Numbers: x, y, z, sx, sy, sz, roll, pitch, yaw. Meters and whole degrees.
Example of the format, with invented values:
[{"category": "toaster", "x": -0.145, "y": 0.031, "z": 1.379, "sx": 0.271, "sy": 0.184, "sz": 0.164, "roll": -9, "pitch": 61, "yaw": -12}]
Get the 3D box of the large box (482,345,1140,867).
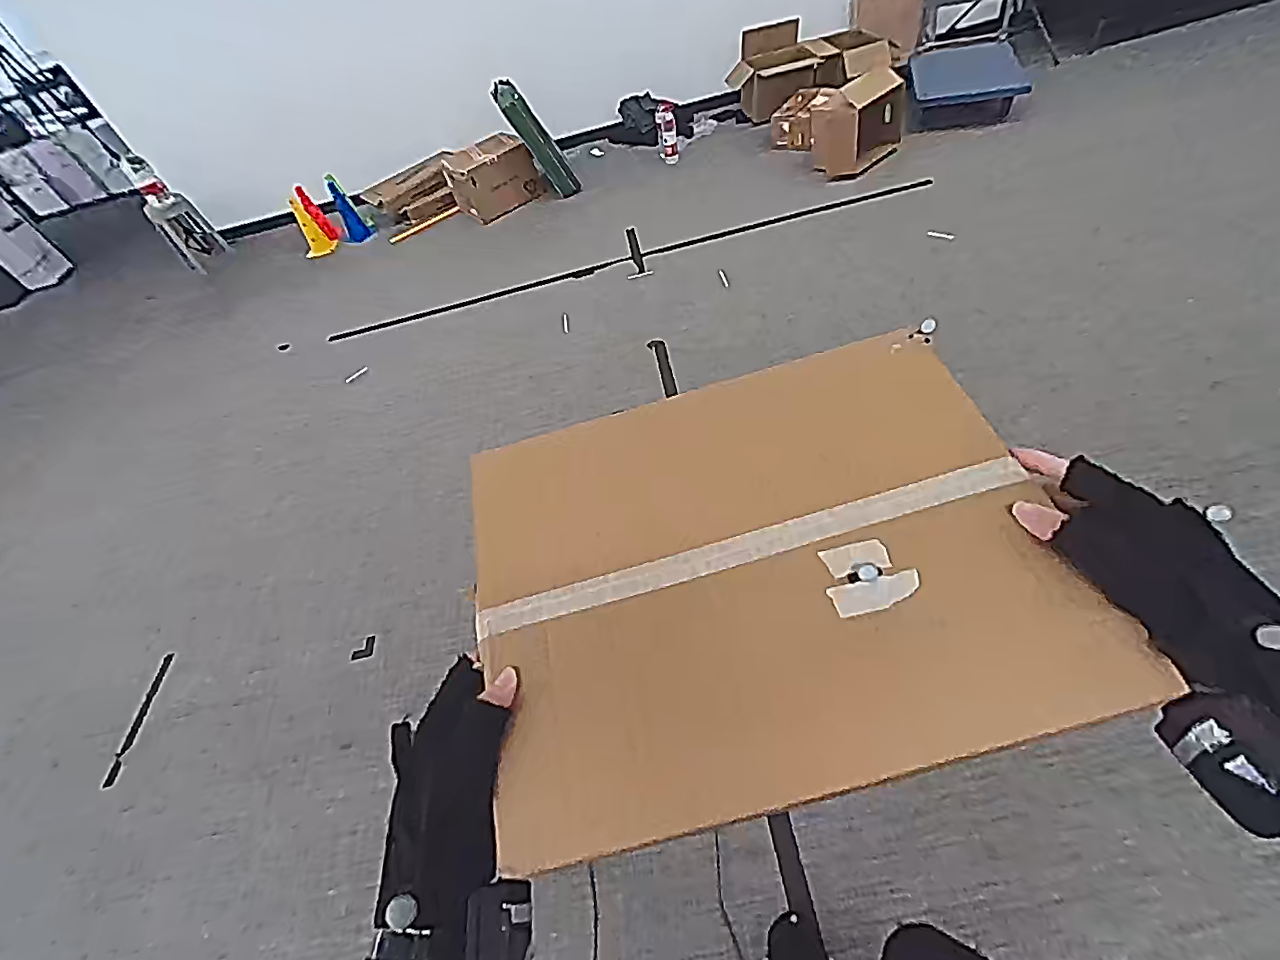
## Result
[{"category": "large box", "x": 0.104, "y": 0.134, "z": 0.532, "sx": 0.408, "sy": 0.320, "sz": 0.320, "roll": -17, "pitch": 58, "yaw": 1}]
